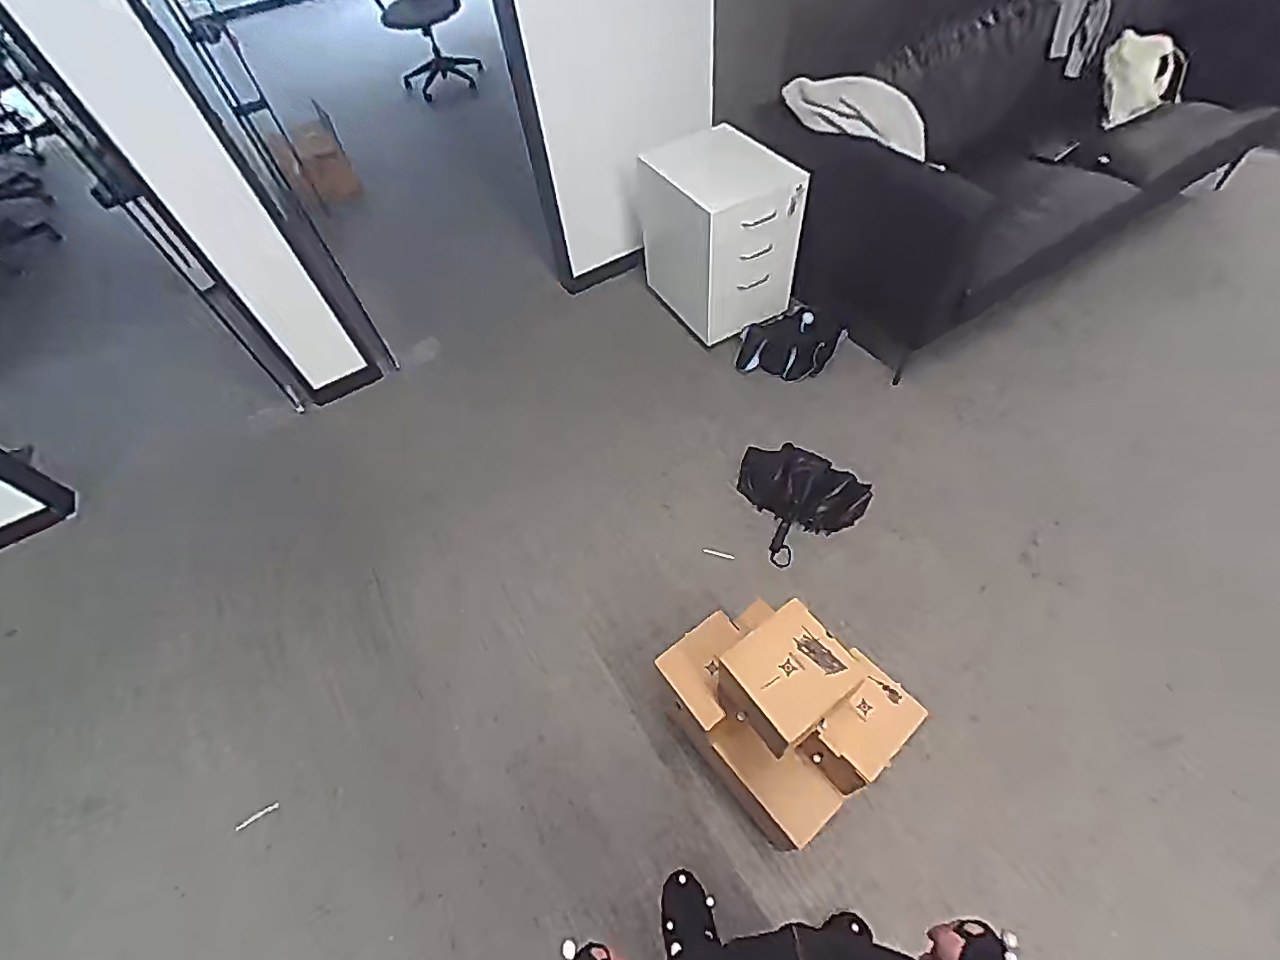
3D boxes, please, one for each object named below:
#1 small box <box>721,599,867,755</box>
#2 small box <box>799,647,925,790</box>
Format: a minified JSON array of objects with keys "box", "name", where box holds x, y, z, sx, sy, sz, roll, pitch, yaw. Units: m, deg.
[{"box":[0.256,0.345,0.940,0.179,0.176,0.168,-33,57,-13],"name":"small box"},{"box":[0.403,0.463,1.041,0.179,0.176,0.168,-36,59,-19],"name":"small box"}]
